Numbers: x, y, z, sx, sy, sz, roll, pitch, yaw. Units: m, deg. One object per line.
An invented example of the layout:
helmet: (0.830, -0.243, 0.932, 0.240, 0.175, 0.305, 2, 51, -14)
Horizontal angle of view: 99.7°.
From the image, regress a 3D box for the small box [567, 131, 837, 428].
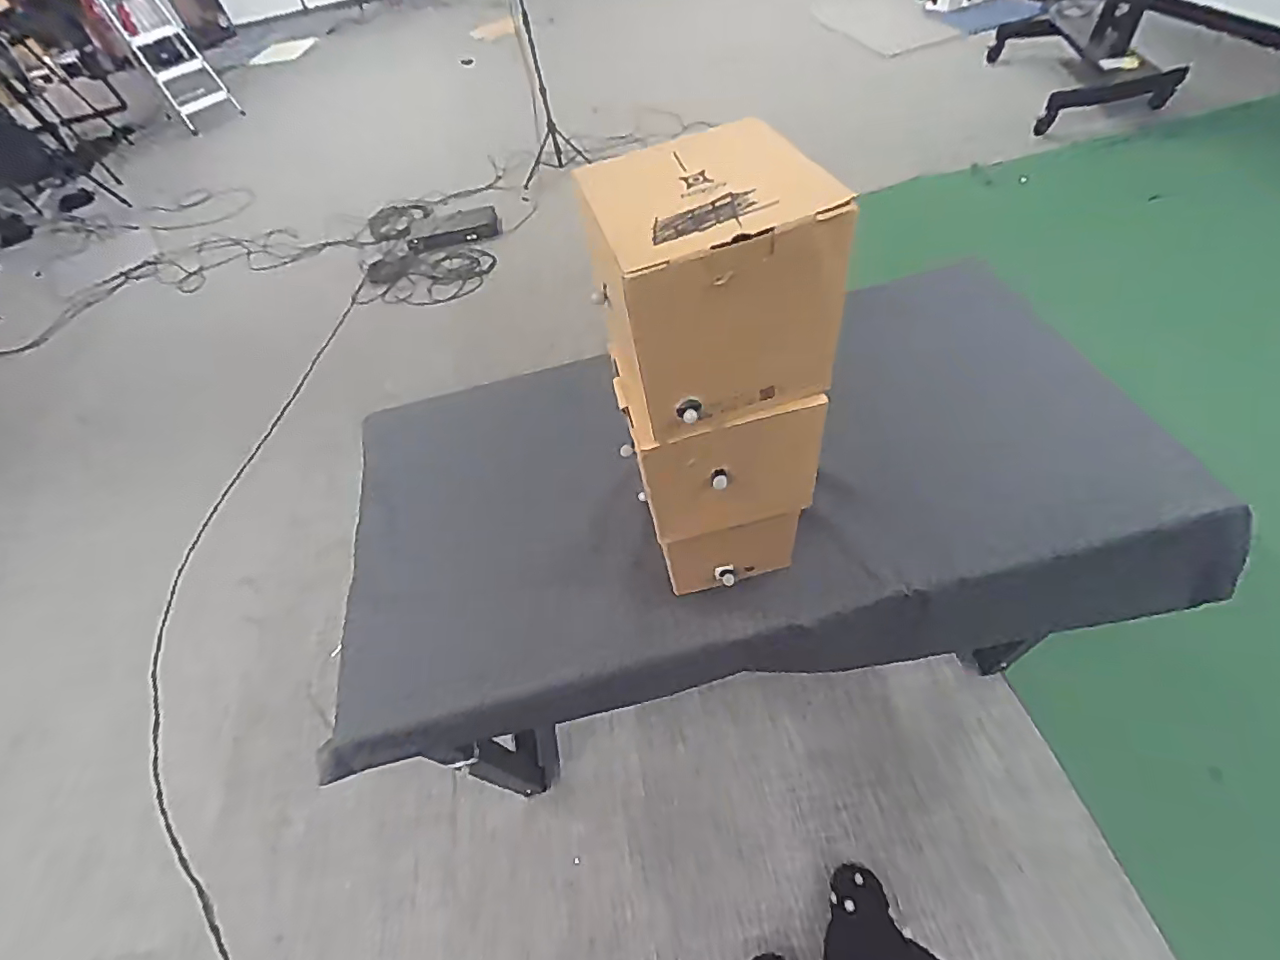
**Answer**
small box: (0.050, -0.166, 0.474, 0.168, 0.176, 0.179, -18, 50, -3)

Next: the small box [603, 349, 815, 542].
small box: (0.073, -0.055, 0.599, 0.179, 0.176, 0.168, -17, 49, -3)

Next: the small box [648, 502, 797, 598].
small box: (0.096, 0.031, 0.733, 0.168, 0.176, 0.179, -17, 52, -1)
